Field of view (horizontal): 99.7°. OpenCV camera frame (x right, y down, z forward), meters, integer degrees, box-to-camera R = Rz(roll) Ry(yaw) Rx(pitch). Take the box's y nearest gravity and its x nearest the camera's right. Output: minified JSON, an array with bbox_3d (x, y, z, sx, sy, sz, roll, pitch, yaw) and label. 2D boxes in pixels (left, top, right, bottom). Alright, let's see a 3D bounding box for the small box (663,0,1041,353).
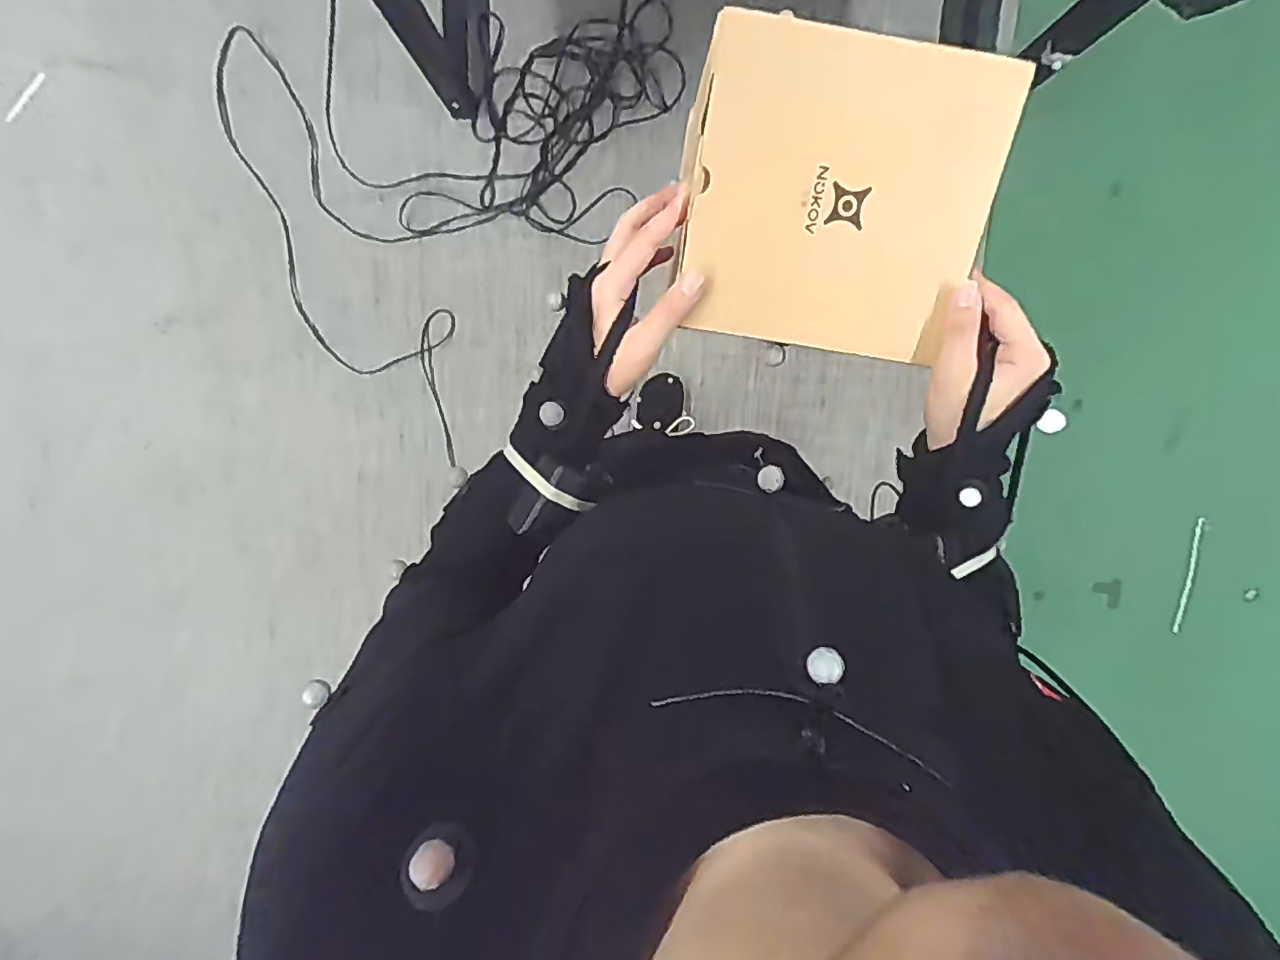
[{"bbox_3d":[0.116,-0.193,0.382,0.179,0.176,0.168,8,109,-2],"label":"small box"}]
